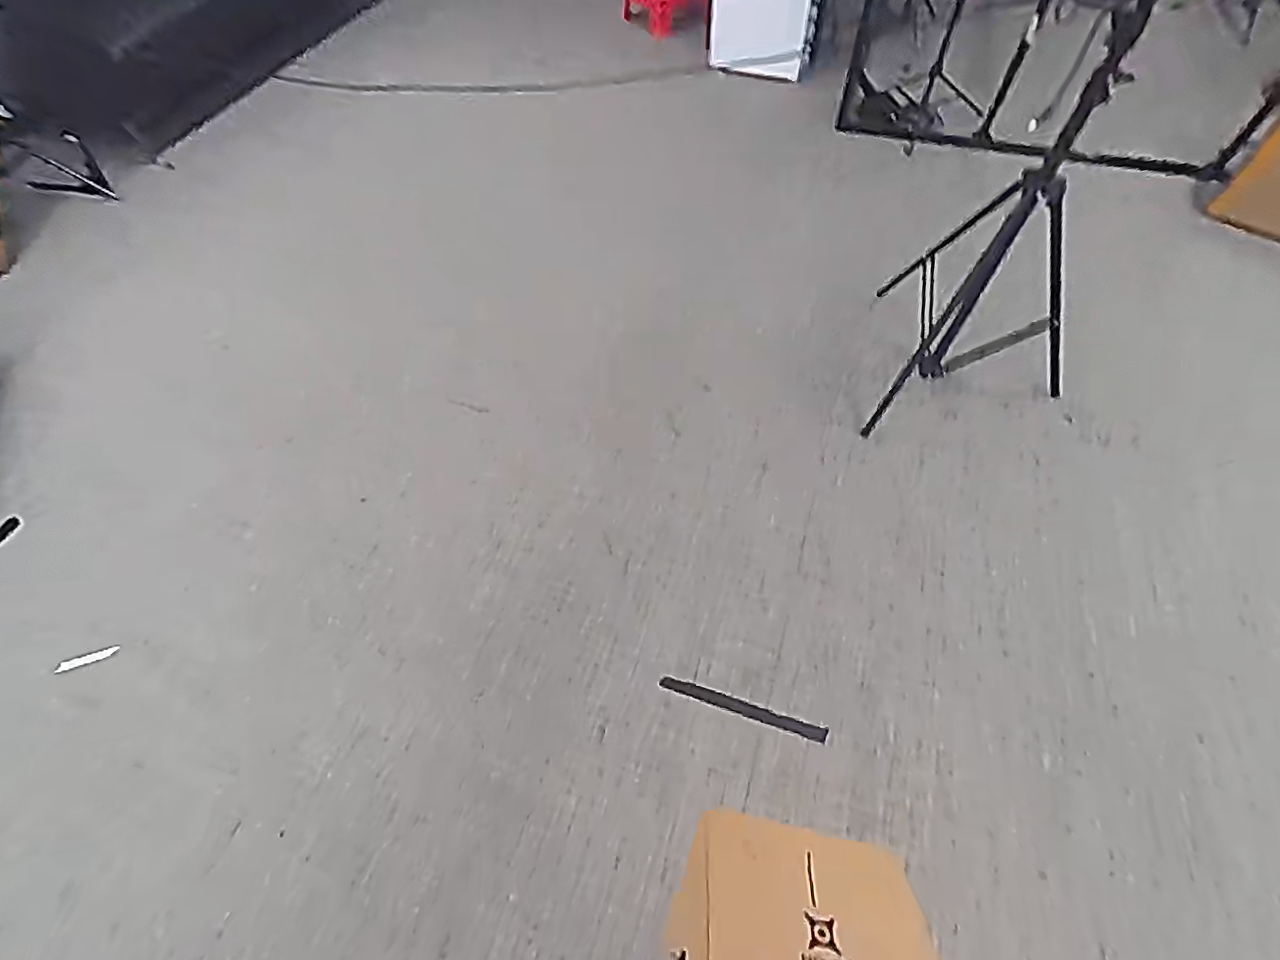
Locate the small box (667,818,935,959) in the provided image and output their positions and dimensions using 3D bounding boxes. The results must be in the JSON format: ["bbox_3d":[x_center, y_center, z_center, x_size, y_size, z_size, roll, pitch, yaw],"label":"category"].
[{"bbox_3d":[0.111,0.400,0.394,0.168,0.176,0.179,12,20,2],"label":"small box"}]
